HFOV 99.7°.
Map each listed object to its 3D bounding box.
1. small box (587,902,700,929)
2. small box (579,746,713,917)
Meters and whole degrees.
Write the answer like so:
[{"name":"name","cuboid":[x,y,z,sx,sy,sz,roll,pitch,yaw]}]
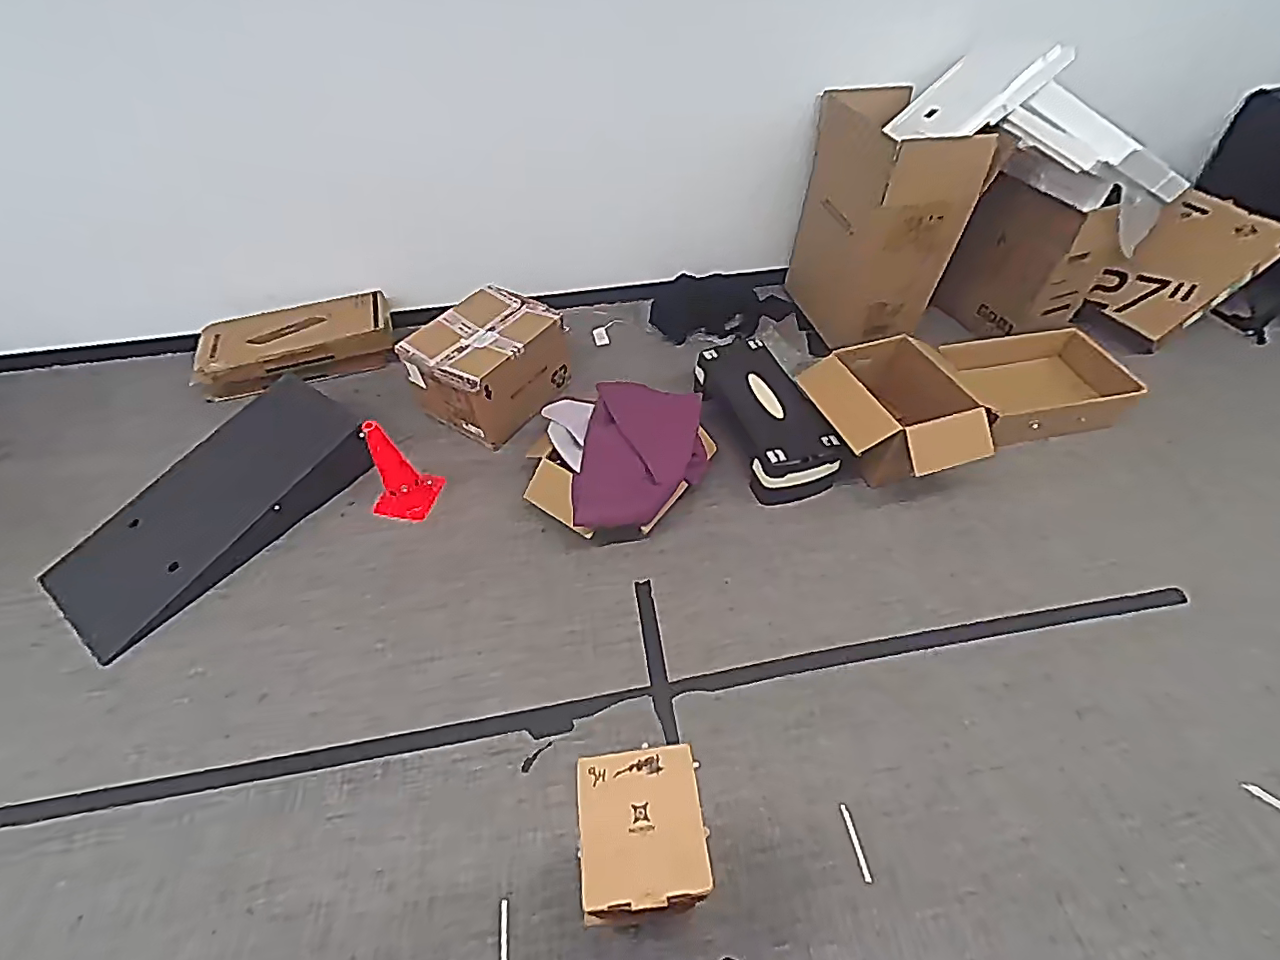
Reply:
[{"name":"small box","cuboid":[0.003,0.619,0.888,0.168,0.176,0.179,-4,51,-1]},{"name":"small box","cuboid":[0.006,0.502,0.772,0.168,0.176,0.179,-6,51,-3]}]
